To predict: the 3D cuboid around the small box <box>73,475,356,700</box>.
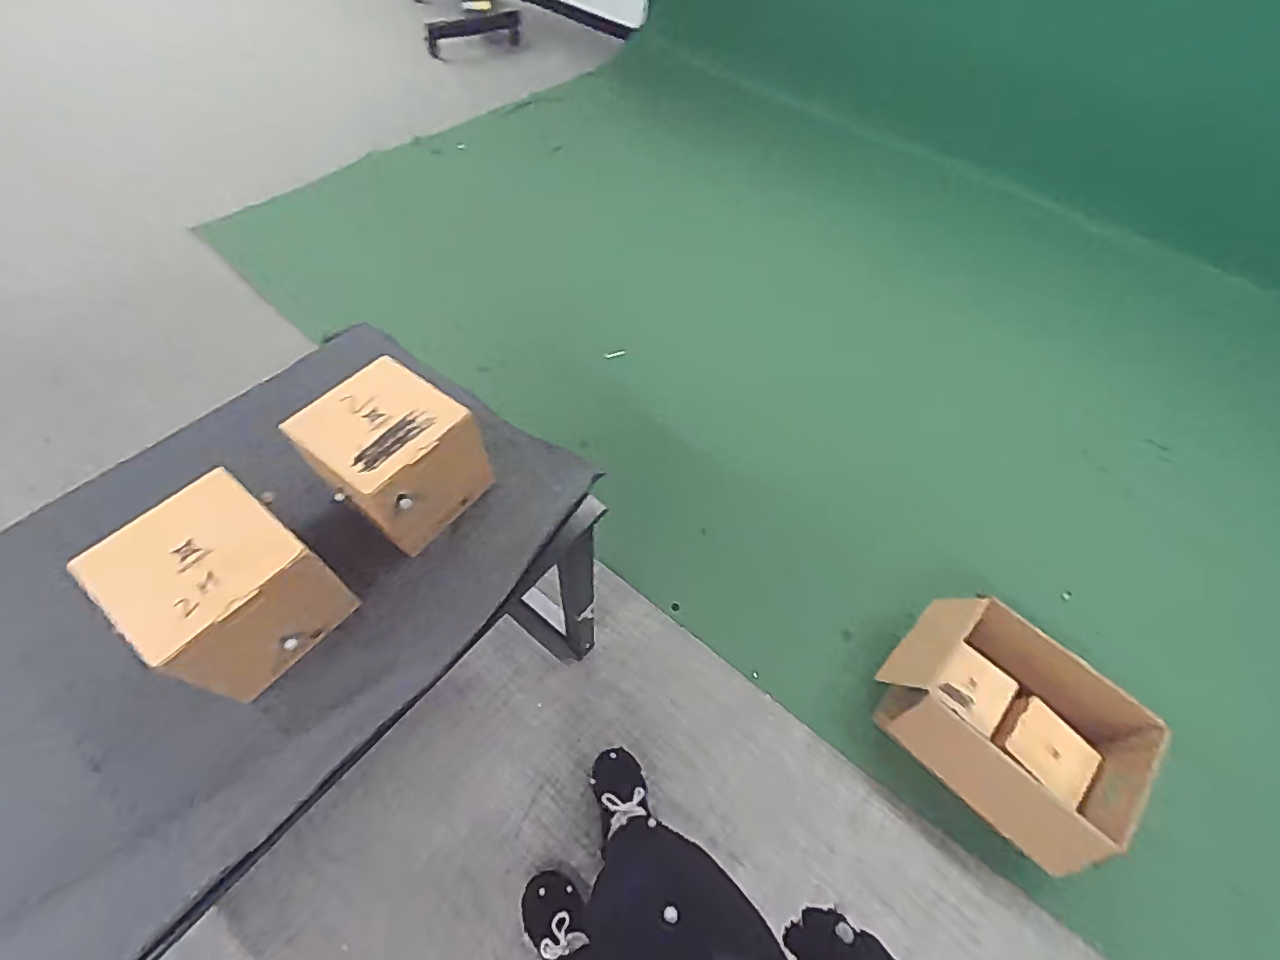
[{"bbox_3d":[-0.483,0.133,0.642,0.179,0.176,0.168,34,61,17],"label":"small box"}]
